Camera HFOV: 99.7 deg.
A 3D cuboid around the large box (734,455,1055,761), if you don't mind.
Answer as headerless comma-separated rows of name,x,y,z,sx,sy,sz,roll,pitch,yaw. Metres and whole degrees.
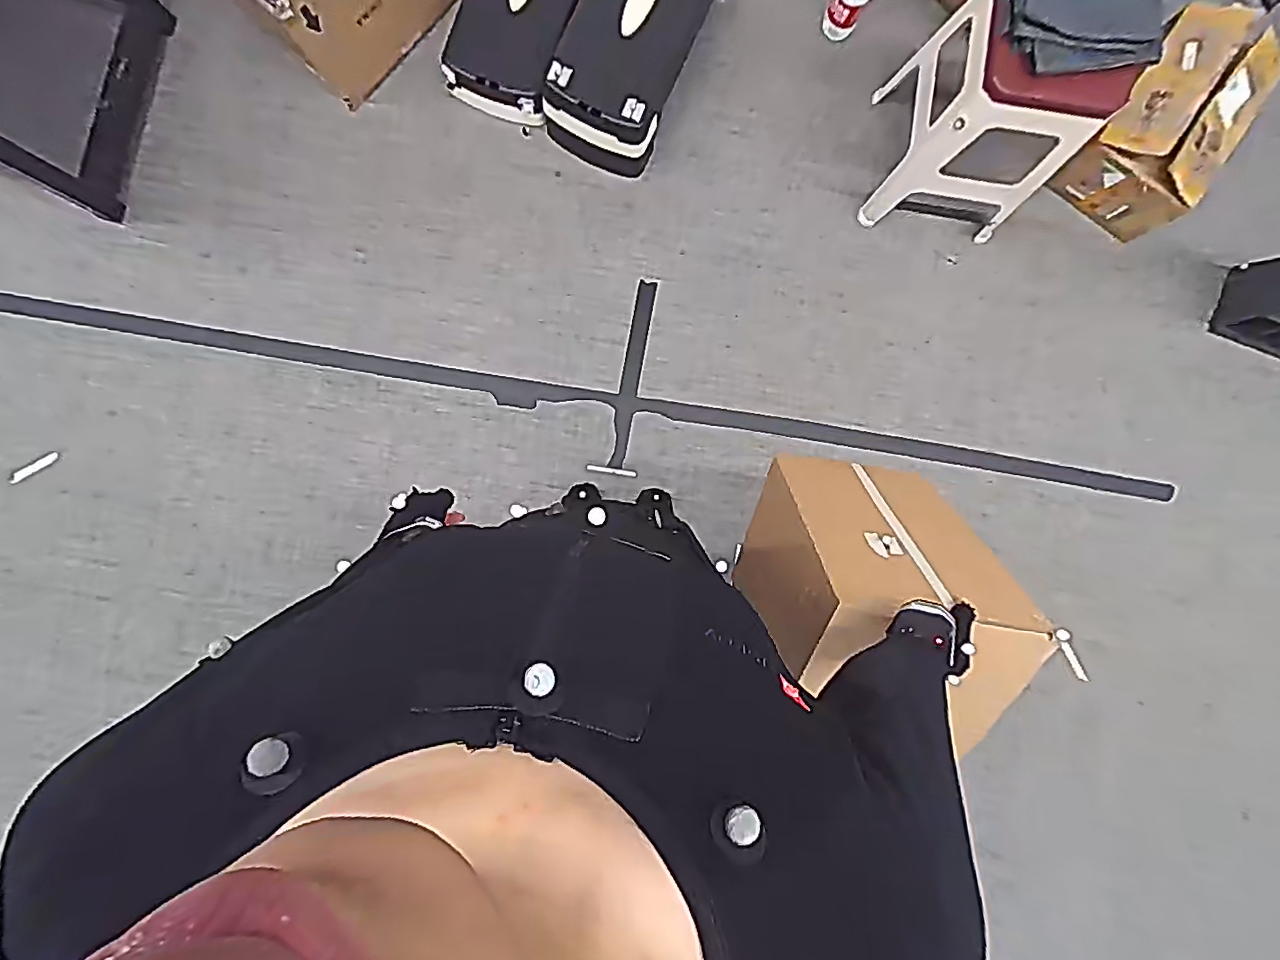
large box,0.382,0.207,0.956,0.320,0.408,0.320,9,122,-5
